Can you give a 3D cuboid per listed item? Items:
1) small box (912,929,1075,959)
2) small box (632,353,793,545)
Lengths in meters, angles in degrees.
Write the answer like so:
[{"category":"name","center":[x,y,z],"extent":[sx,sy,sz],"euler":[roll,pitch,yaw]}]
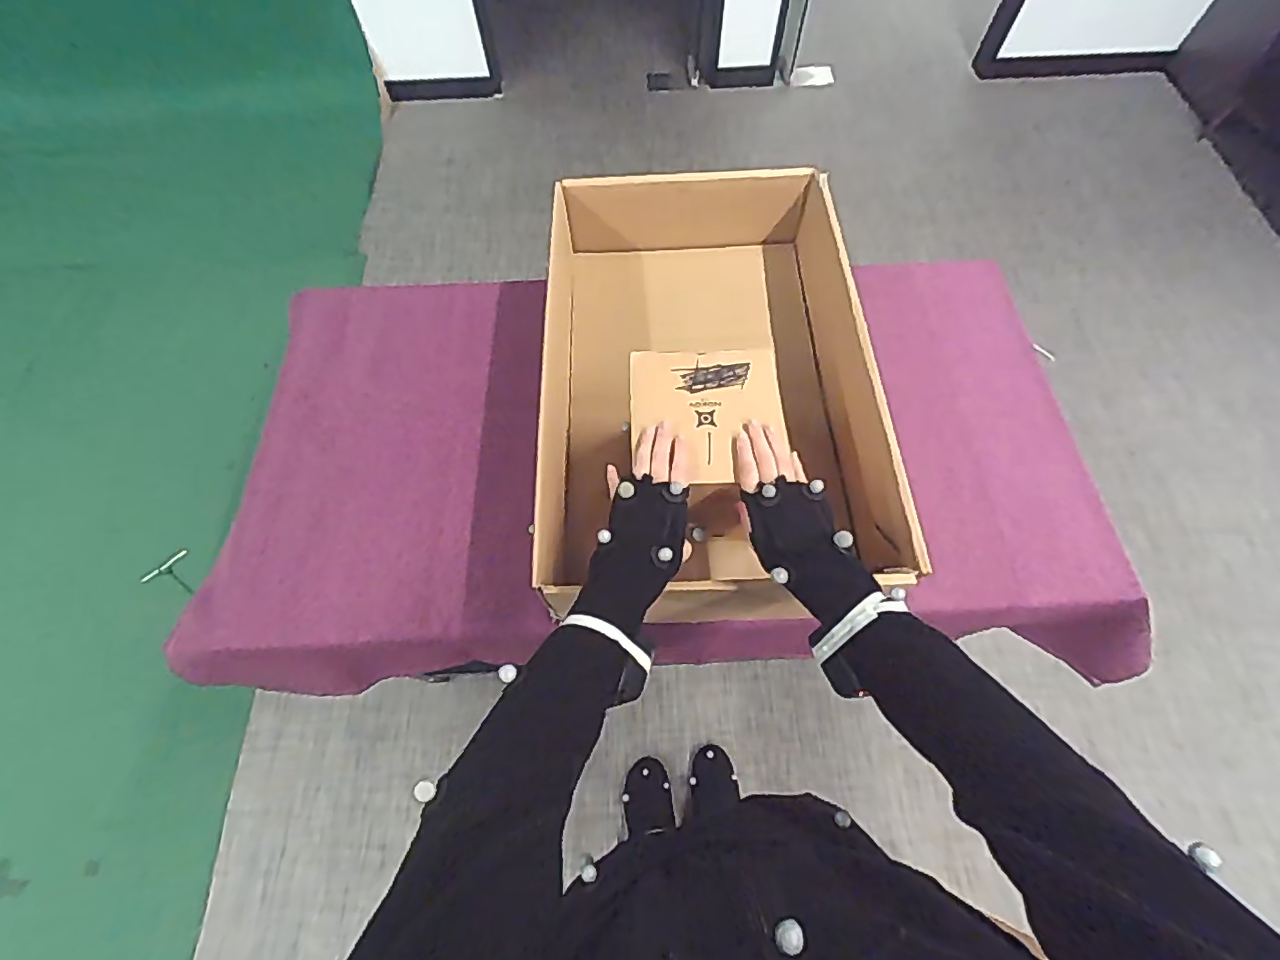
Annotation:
[{"category":"small box","center":[0.517,0.767,0.771],"extent":[0.168,0.176,0.179],"euler":[-2,64,0]},{"category":"small box","center":[0.074,-0.032,0.656],"extent":[0.168,0.176,0.179],"euler":[-2,64,1]}]
